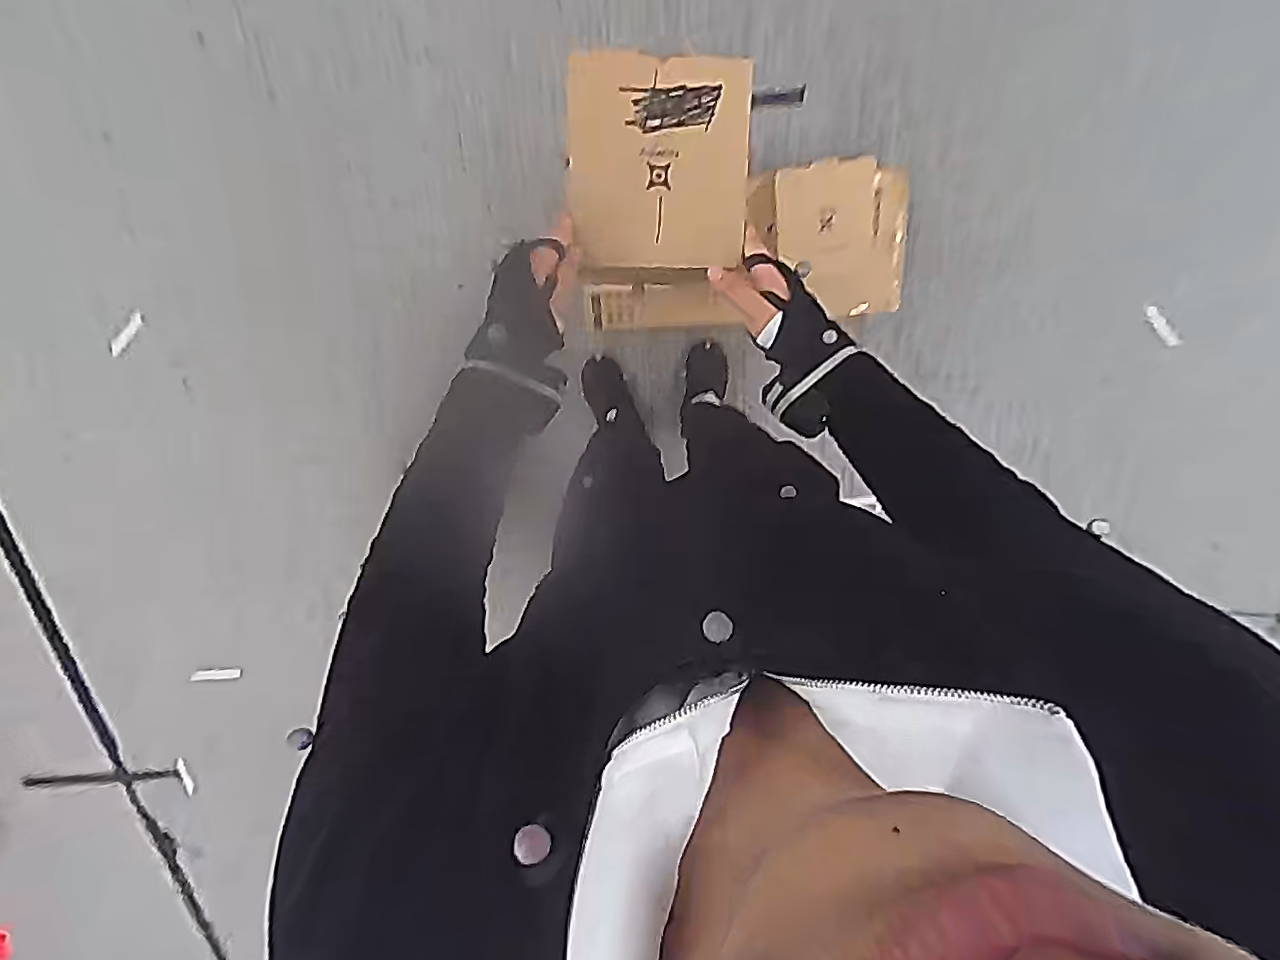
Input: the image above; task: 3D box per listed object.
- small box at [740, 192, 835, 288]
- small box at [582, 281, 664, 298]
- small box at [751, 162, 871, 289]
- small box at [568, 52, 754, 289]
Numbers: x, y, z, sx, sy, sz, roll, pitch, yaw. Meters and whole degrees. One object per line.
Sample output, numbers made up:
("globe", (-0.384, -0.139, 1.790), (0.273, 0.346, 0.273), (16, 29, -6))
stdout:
("small box", (0.307, -0.504, 1.136), (0.168, 0.176, 0.179), (-6, 110, -1))
("small box", (-0.041, -0.476, 1.128), (0.168, 0.176, 0.179), (-4, 109, -1))
("small box", (0.304, -0.451, 0.983), (0.168, 0.176, 0.179), (-8, 109, 2))
("small box", (0.010, -0.302, 0.565), (0.168, 0.176, 0.179), (-2, 105, -6))
